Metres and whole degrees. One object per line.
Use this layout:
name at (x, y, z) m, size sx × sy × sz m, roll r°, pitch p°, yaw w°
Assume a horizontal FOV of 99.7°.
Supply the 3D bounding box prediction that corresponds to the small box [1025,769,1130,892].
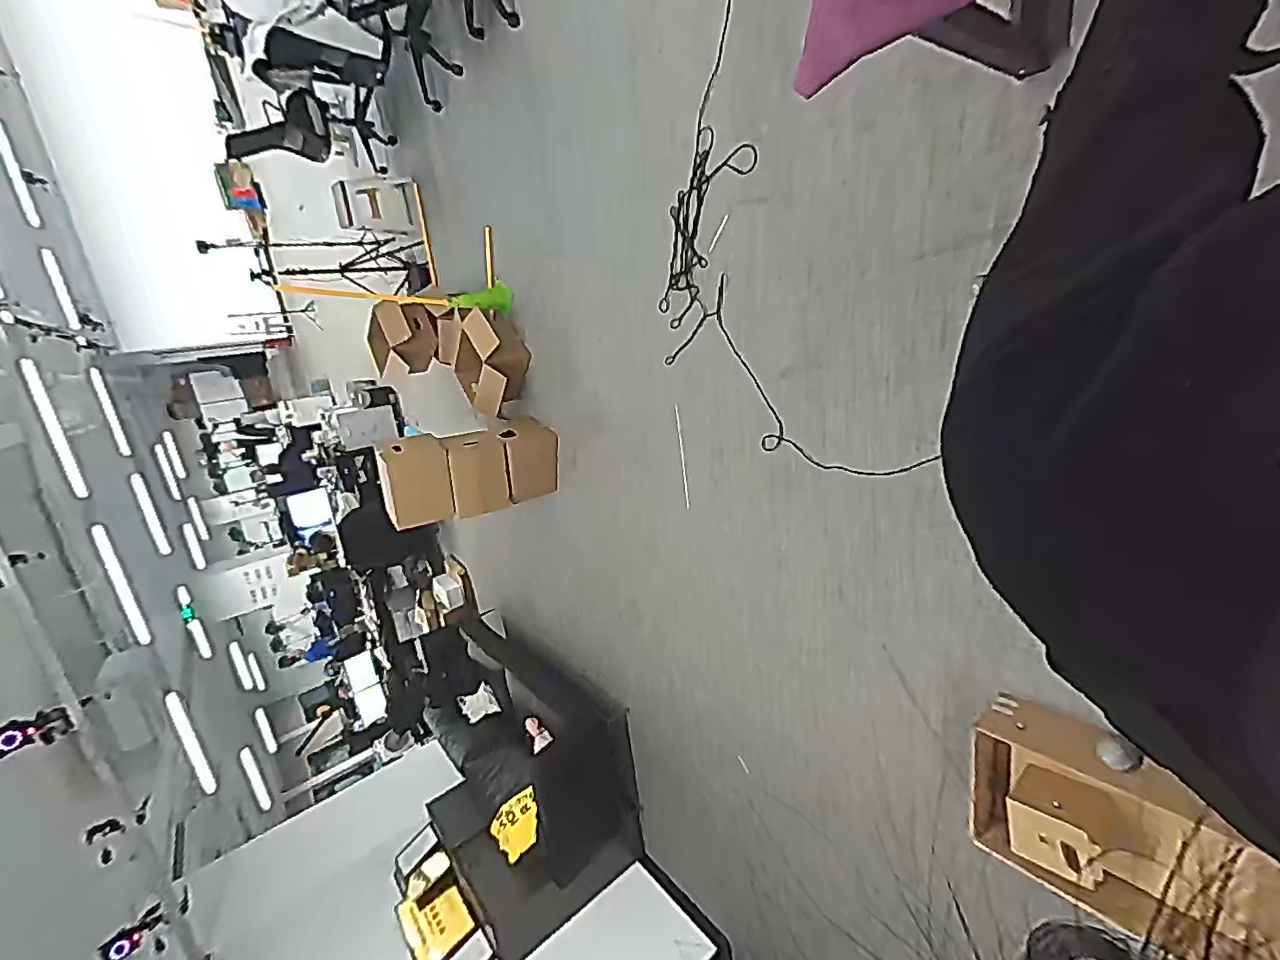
small box at (1.125, 0.882, 1.384) m, size 0.179 × 0.176 × 0.168 m, roll 1°, pitch 105°, yaw 55°
